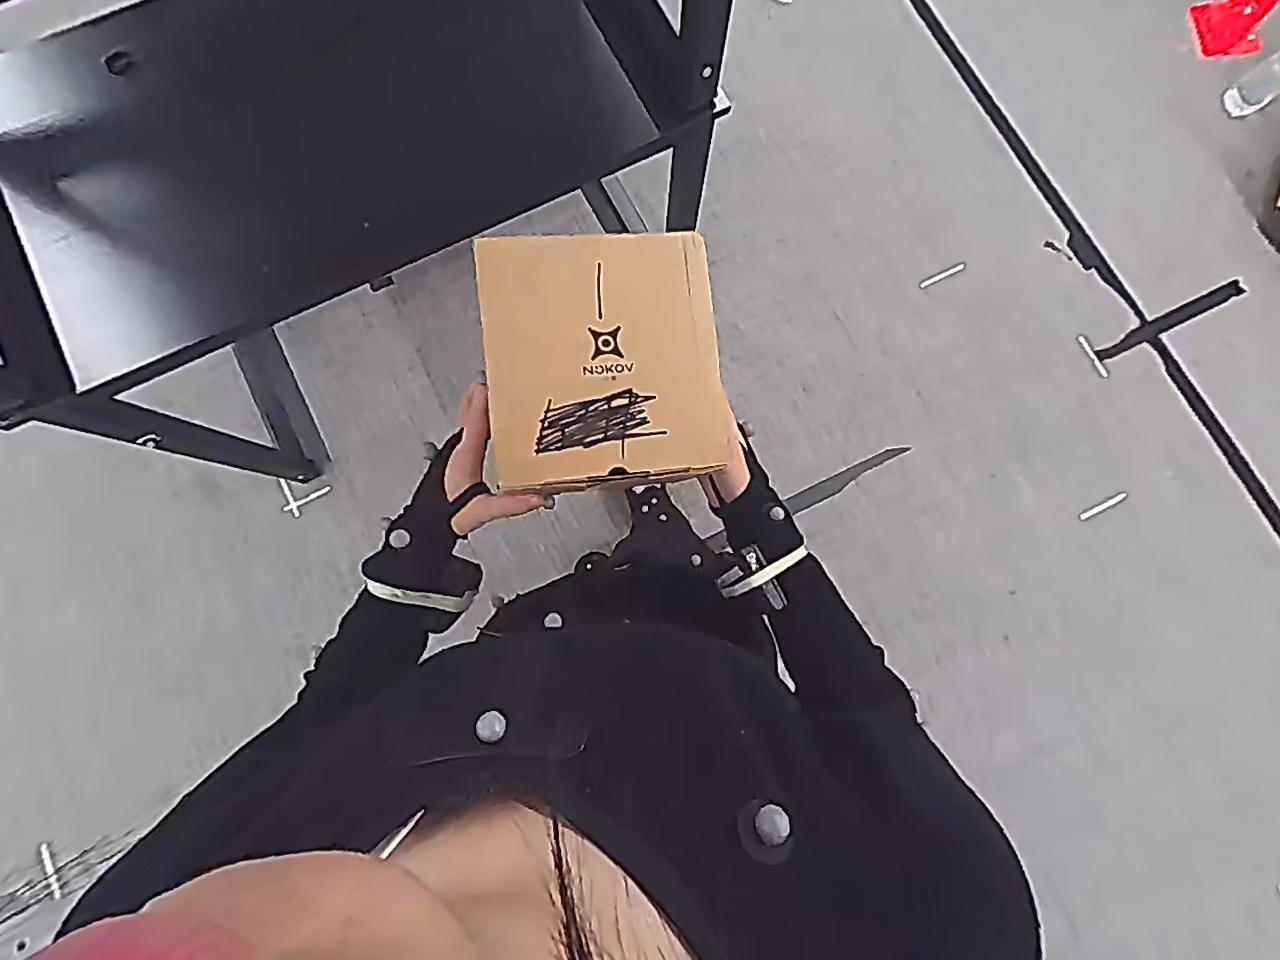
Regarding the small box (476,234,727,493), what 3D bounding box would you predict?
[{"bbox_3d":[-0.036,-0.081,0.454,0.168,0.176,0.179,-5,87,-10],"label":"small box"}]
